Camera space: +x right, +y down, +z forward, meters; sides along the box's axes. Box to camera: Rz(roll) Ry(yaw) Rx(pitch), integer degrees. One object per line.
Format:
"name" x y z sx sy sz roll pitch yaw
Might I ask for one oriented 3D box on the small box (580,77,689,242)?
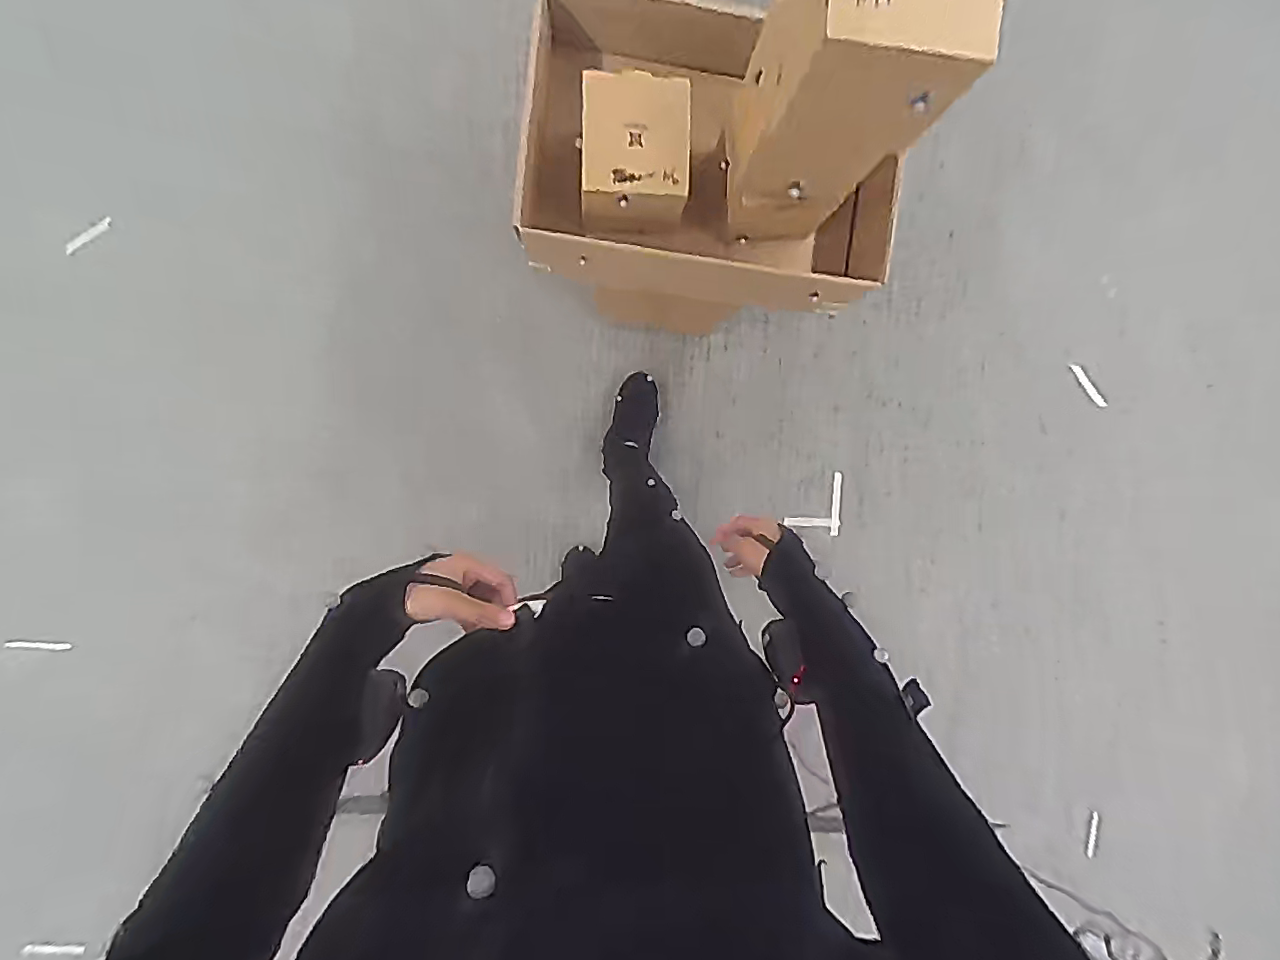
"small box" -0.014 -0.521 0.900 0.168 0.176 0.179 1 93 -4

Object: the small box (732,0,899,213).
"small box" 0.232 -0.506 0.756 0.168 0.176 0.179 5 94 -3
